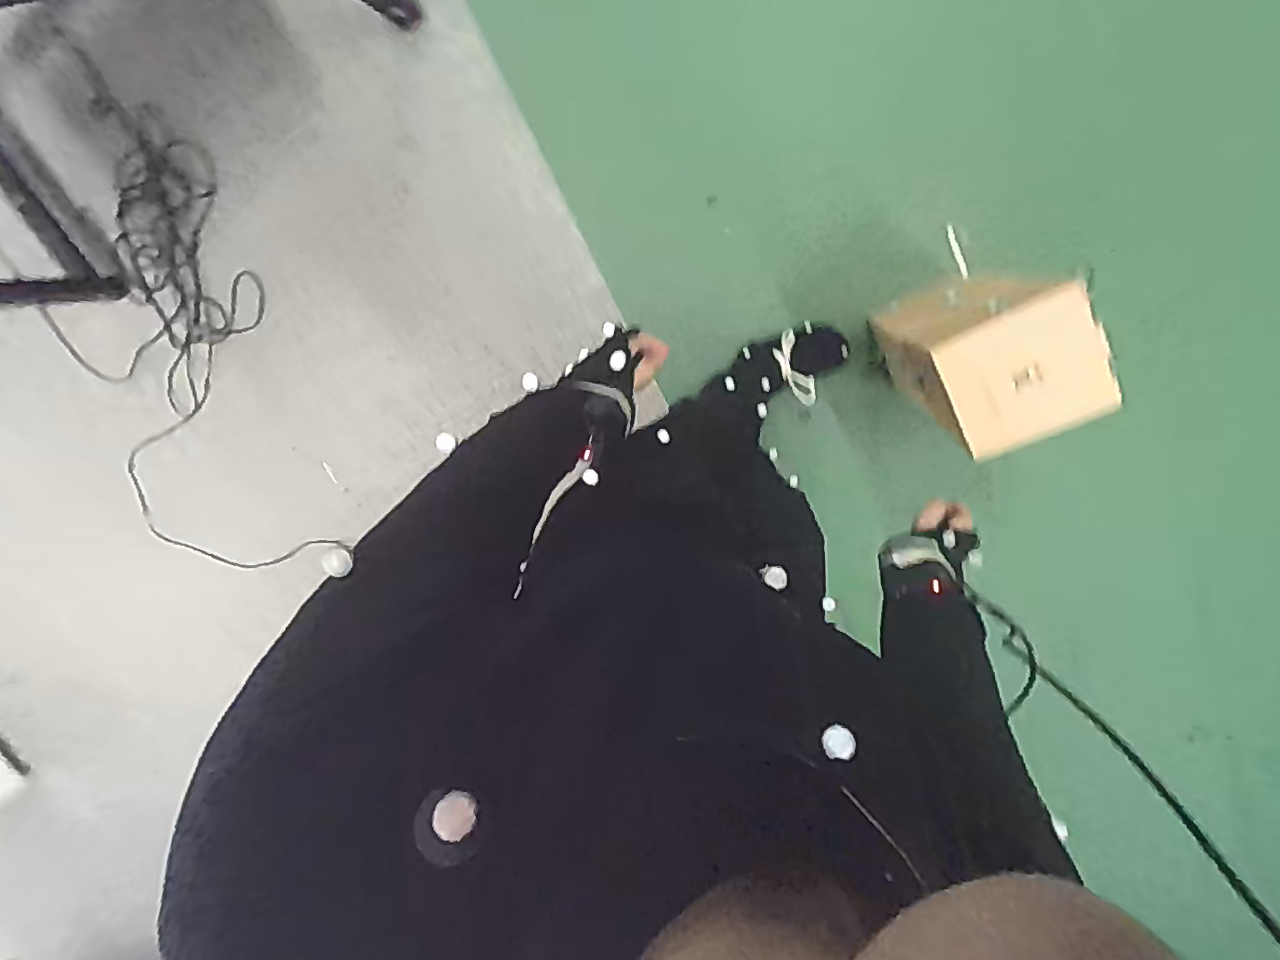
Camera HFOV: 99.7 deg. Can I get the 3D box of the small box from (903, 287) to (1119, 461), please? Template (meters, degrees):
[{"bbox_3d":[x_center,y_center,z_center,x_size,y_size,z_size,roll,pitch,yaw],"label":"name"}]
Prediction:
[{"bbox_3d":[0.499,-0.156,0.754,0.179,0.176,0.168,-25,103,21],"label":"small box"}]

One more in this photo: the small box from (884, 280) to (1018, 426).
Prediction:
[{"bbox_3d":[0.528,-0.215,0.903,0.179,0.176,0.168,-26,104,20],"label":"small box"}]
